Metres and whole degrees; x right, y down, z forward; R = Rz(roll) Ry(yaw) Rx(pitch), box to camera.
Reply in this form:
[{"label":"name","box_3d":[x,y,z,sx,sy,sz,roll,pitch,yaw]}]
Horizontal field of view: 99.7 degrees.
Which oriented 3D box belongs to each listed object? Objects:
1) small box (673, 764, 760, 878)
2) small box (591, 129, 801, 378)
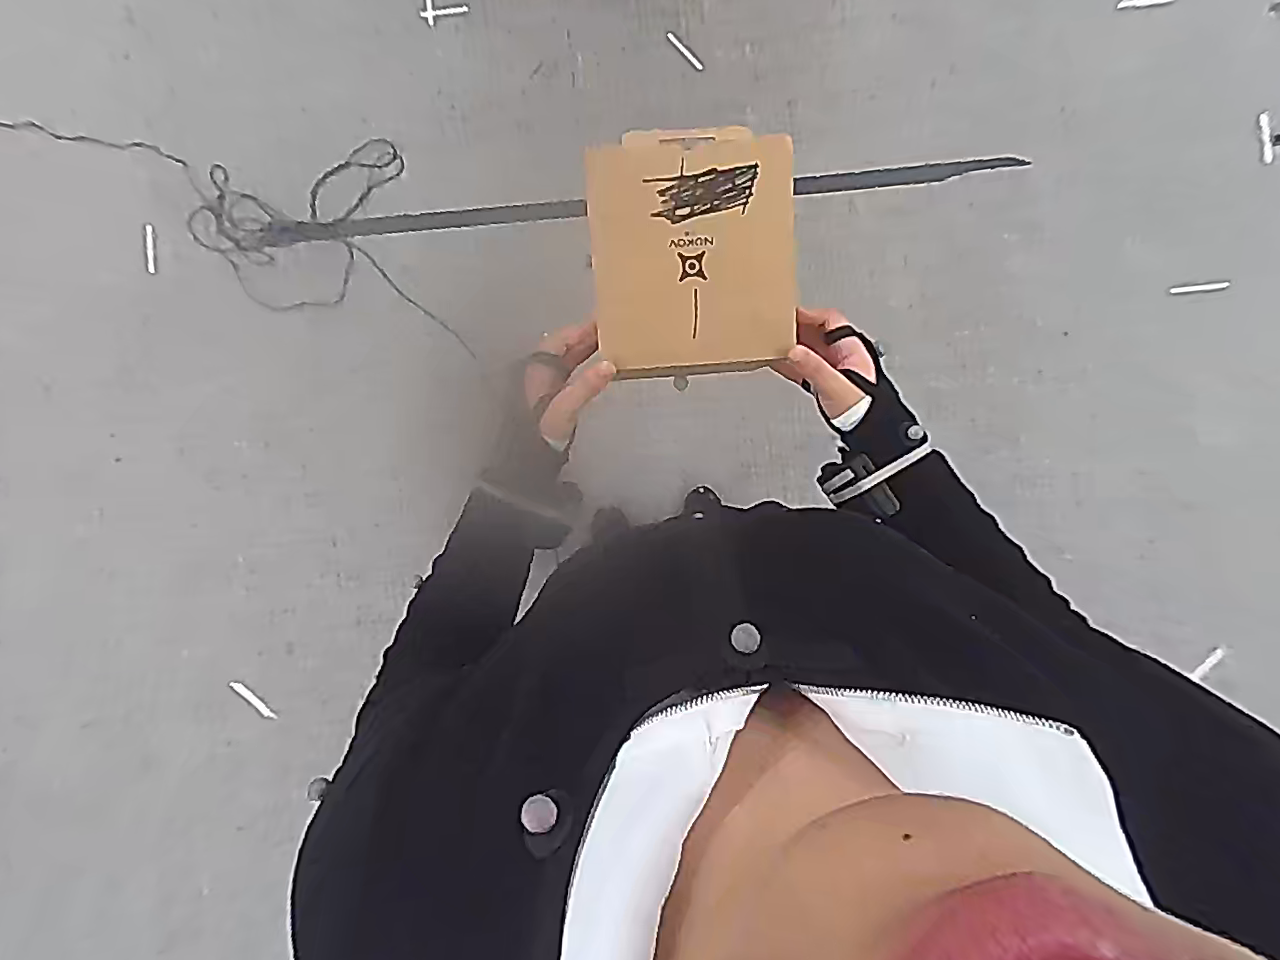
[{"label":"small box","box_3d":[0.165,0.738,1.208,0.168,0.176,0.179,-7,89,1]},{"label":"small box","box_3d":[0.045,-0.195,0.513,0.168,0.176,0.179,-4,98,0]}]
